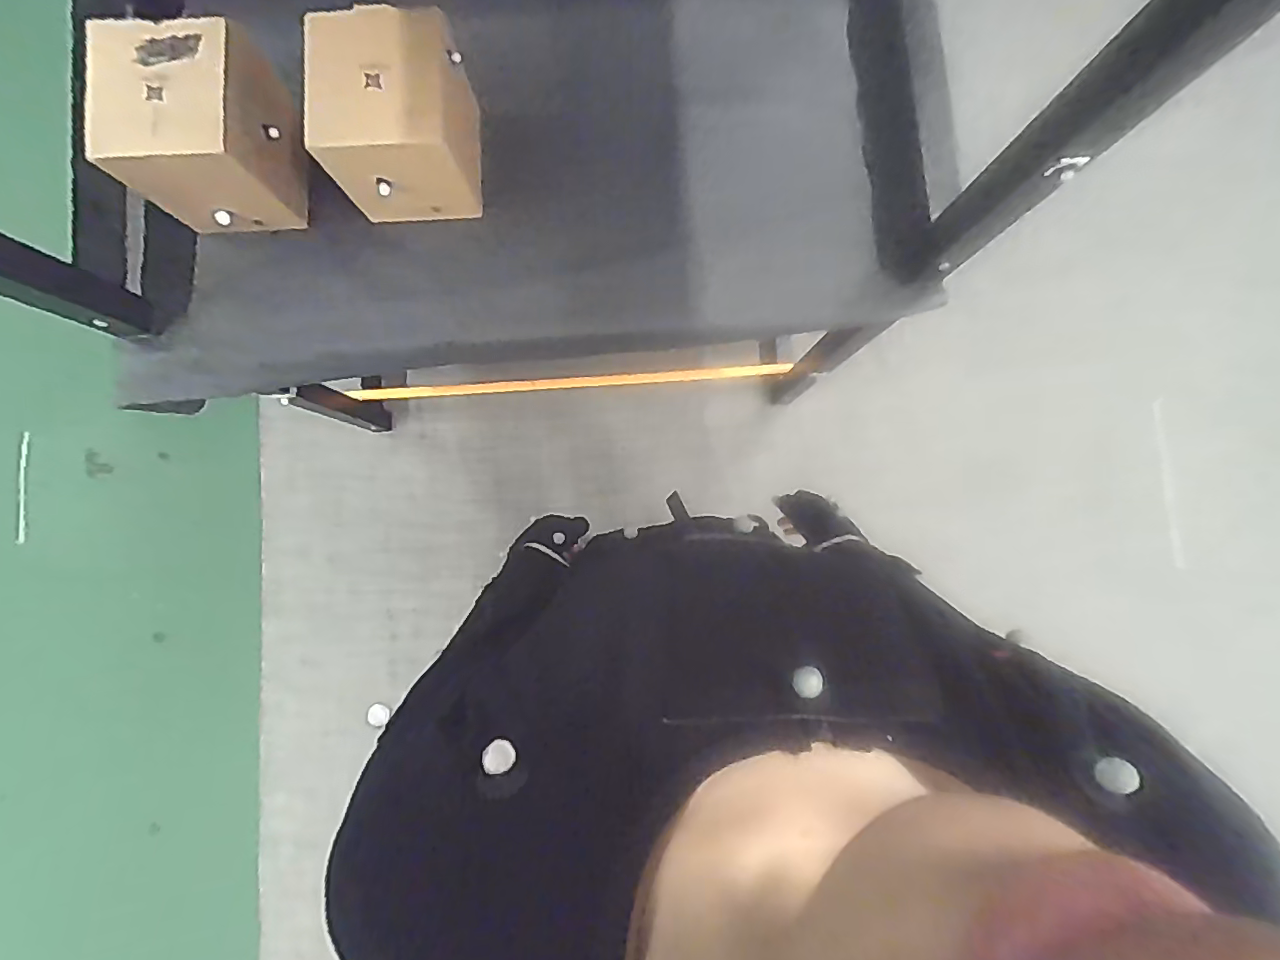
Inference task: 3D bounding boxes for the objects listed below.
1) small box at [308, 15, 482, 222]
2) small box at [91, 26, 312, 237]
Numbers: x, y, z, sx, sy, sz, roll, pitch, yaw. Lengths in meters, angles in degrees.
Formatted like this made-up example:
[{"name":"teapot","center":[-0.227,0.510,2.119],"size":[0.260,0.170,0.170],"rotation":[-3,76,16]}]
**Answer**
[{"name":"small box","center":[-0.319,-0.471,0.733],"size":[0.168,0.176,0.179],"rotation":[-3,85,-1]},{"name":"small box","center":[-0.571,-0.456,0.728],"size":[0.168,0.176,0.179],"rotation":[-3,86,0]}]
